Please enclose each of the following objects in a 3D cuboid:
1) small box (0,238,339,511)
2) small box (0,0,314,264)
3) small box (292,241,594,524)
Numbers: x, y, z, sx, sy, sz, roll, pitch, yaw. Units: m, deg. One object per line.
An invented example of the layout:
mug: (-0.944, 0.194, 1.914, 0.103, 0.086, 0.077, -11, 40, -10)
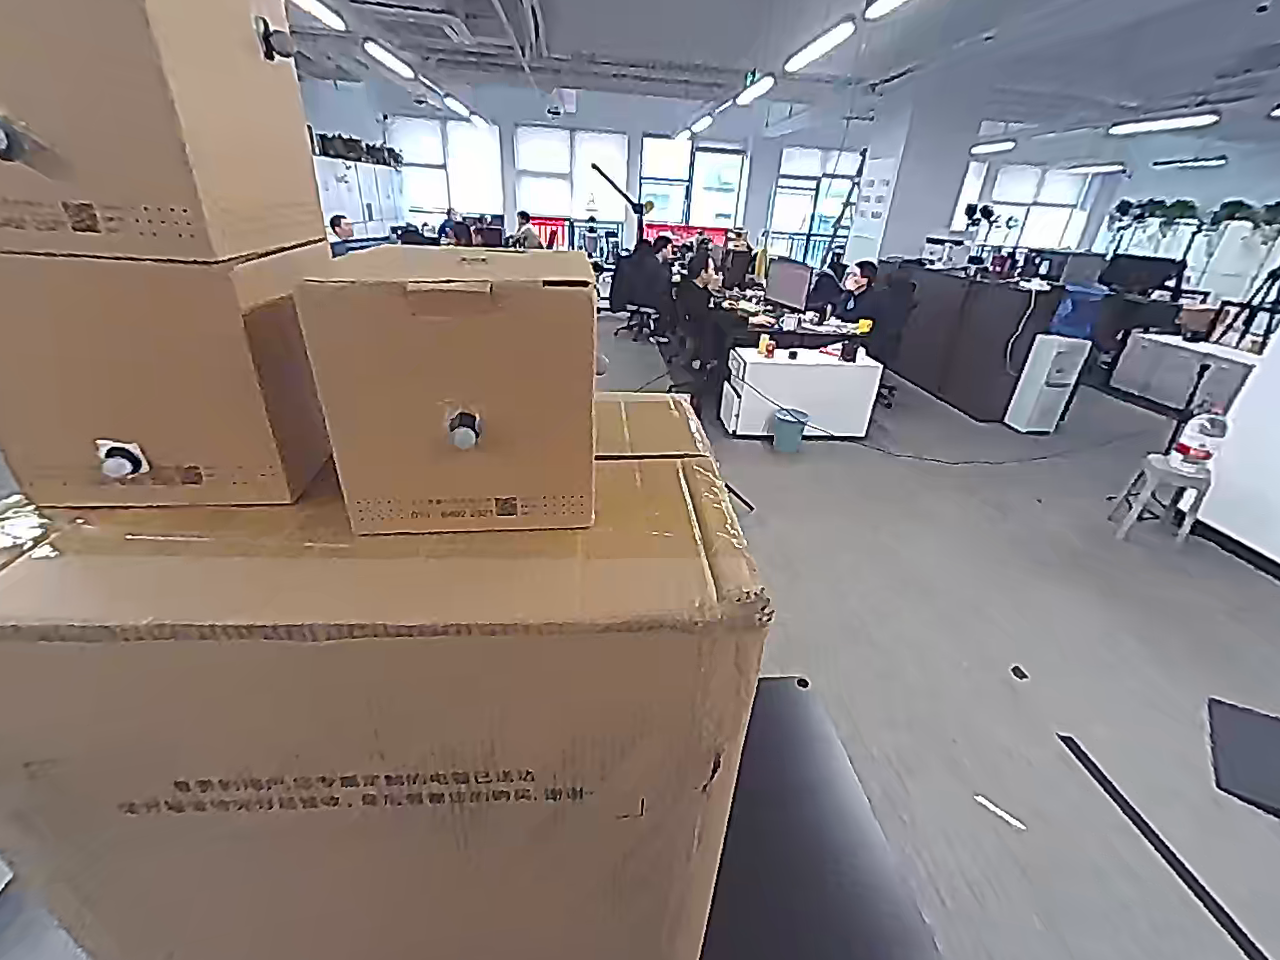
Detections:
small box: (-0.337, -0.091, 0.413, 0.168, 0.176, 0.179, -2, 29, -10)
small box: (-0.328, -0.236, 0.334, 0.168, 0.176, 0.179, -1, 28, -8)
small box: (-0.120, -0.078, 0.409, 0.168, 0.176, 0.179, -1, 30, -8)
